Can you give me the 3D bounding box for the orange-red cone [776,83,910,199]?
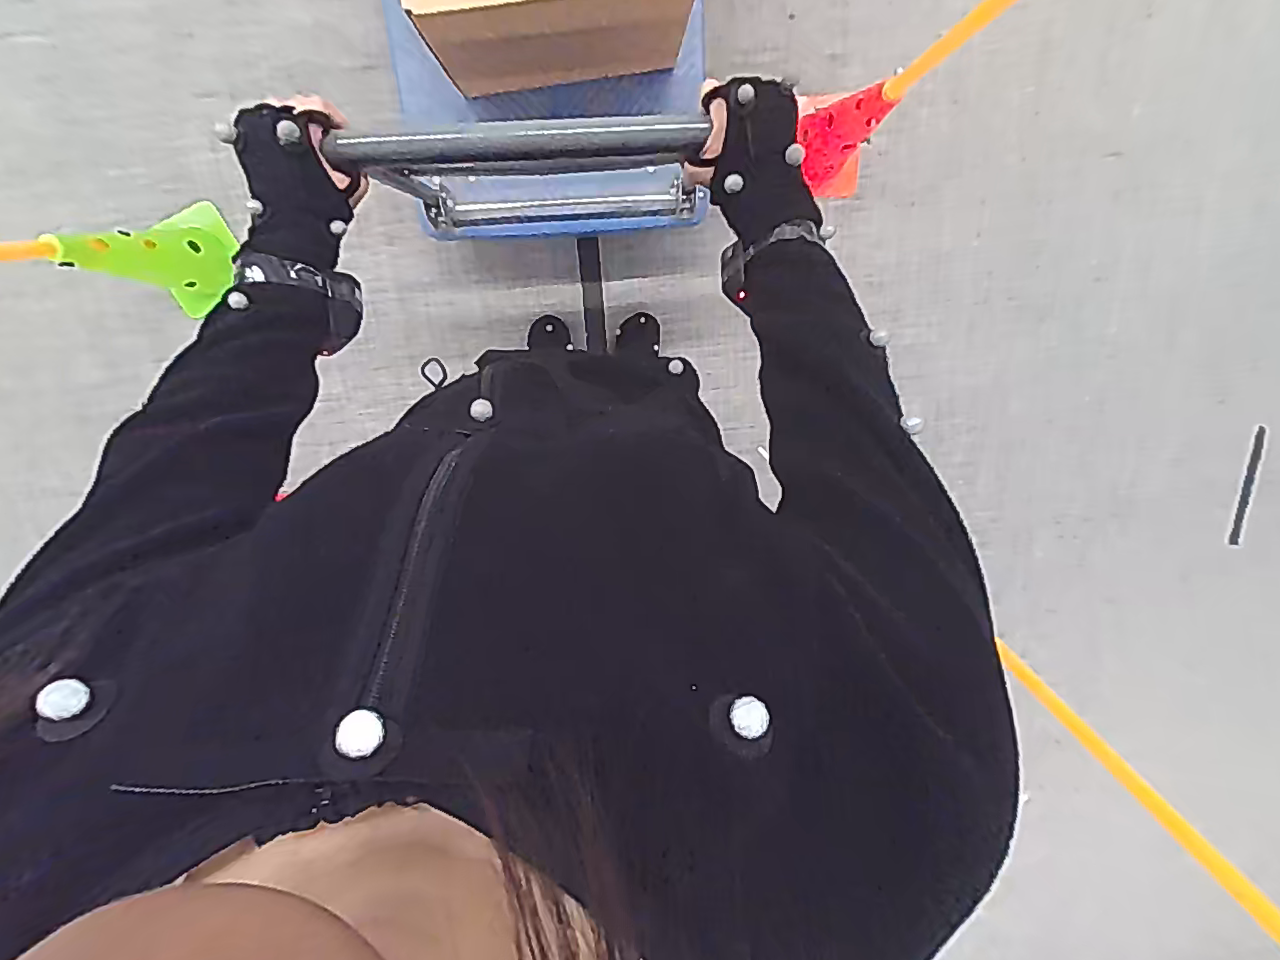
[{"bbox_3d":[0.426,-0.700,1.069,0.199,0.360,0.198,1,109,-5],"label":"orange-red cone"}]
